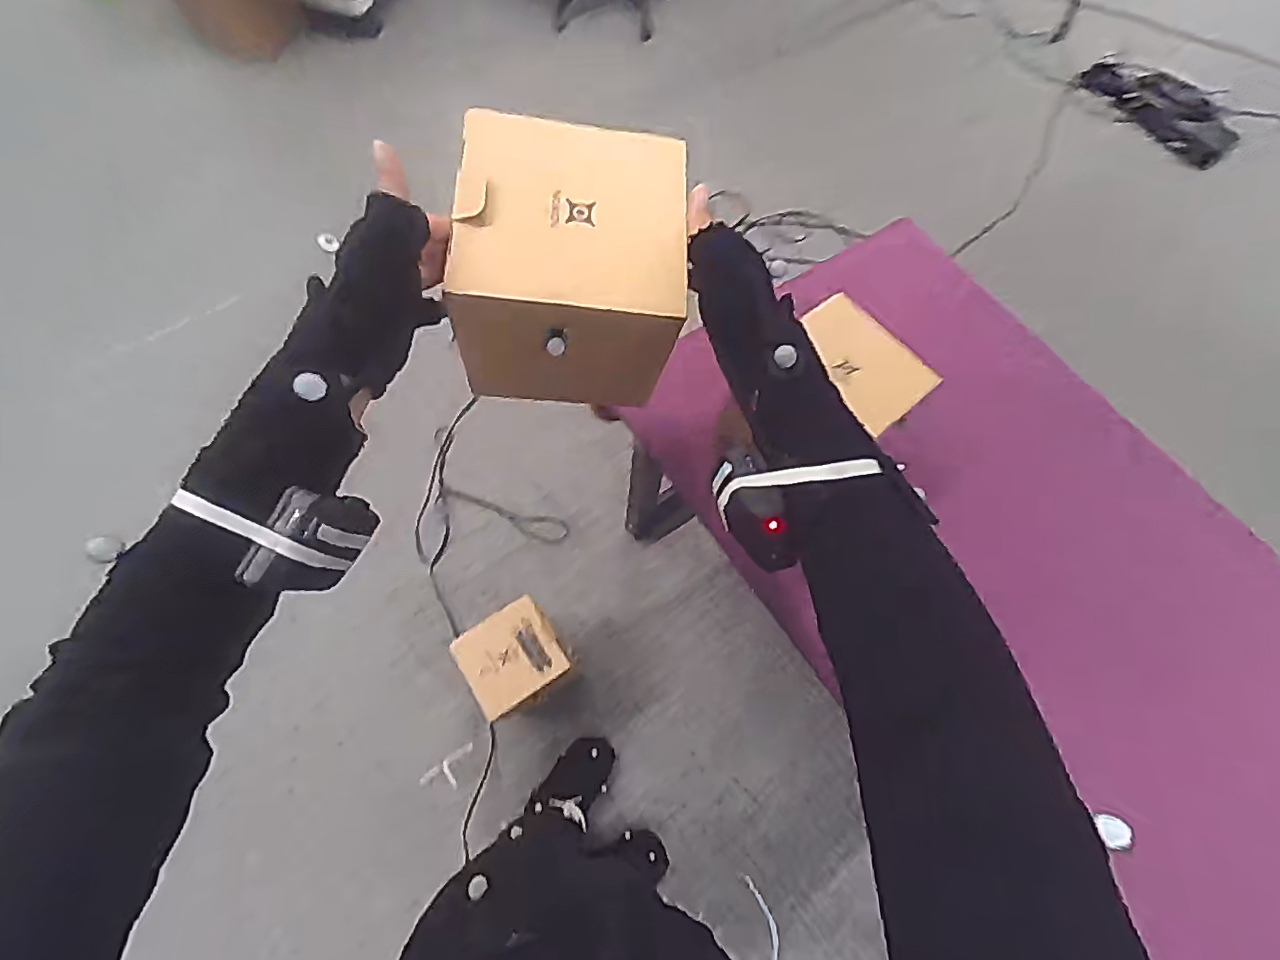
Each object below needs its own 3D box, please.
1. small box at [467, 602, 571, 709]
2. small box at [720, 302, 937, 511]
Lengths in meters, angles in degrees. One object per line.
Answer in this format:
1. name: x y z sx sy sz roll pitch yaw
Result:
1. small box: -0.272 0.407 1.255 0.179 0.176 0.168 -30 73 -14
2. small box: 0.230 -0.089 0.707 0.179 0.176 0.168 -35 75 -17
